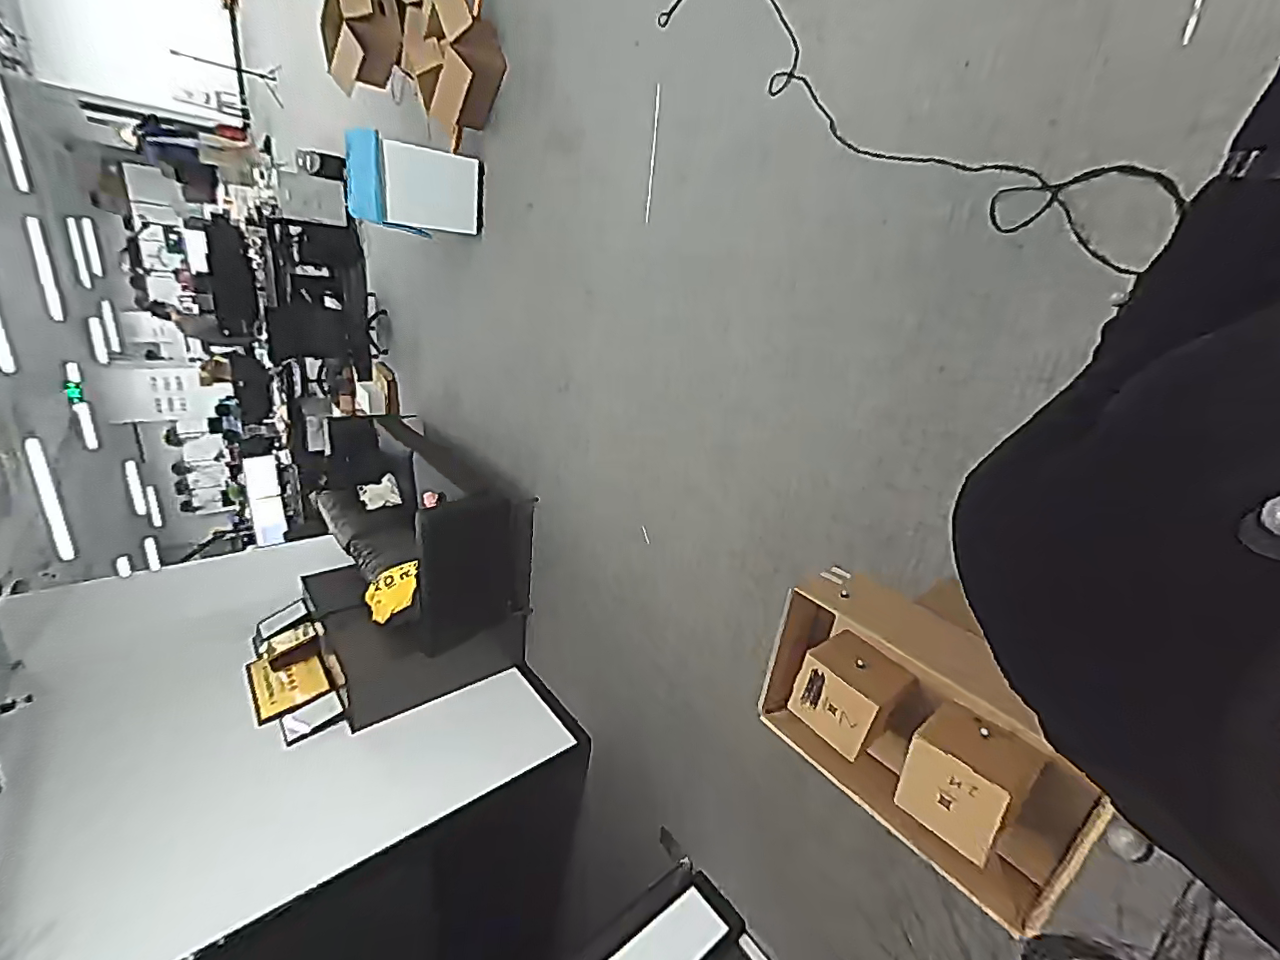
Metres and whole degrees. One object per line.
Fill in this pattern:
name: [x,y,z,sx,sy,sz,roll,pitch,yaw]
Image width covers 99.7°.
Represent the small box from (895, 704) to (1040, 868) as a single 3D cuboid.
small box: [0.622,0.568,1.027,0.168,0.176,0.179,26,117,46]
